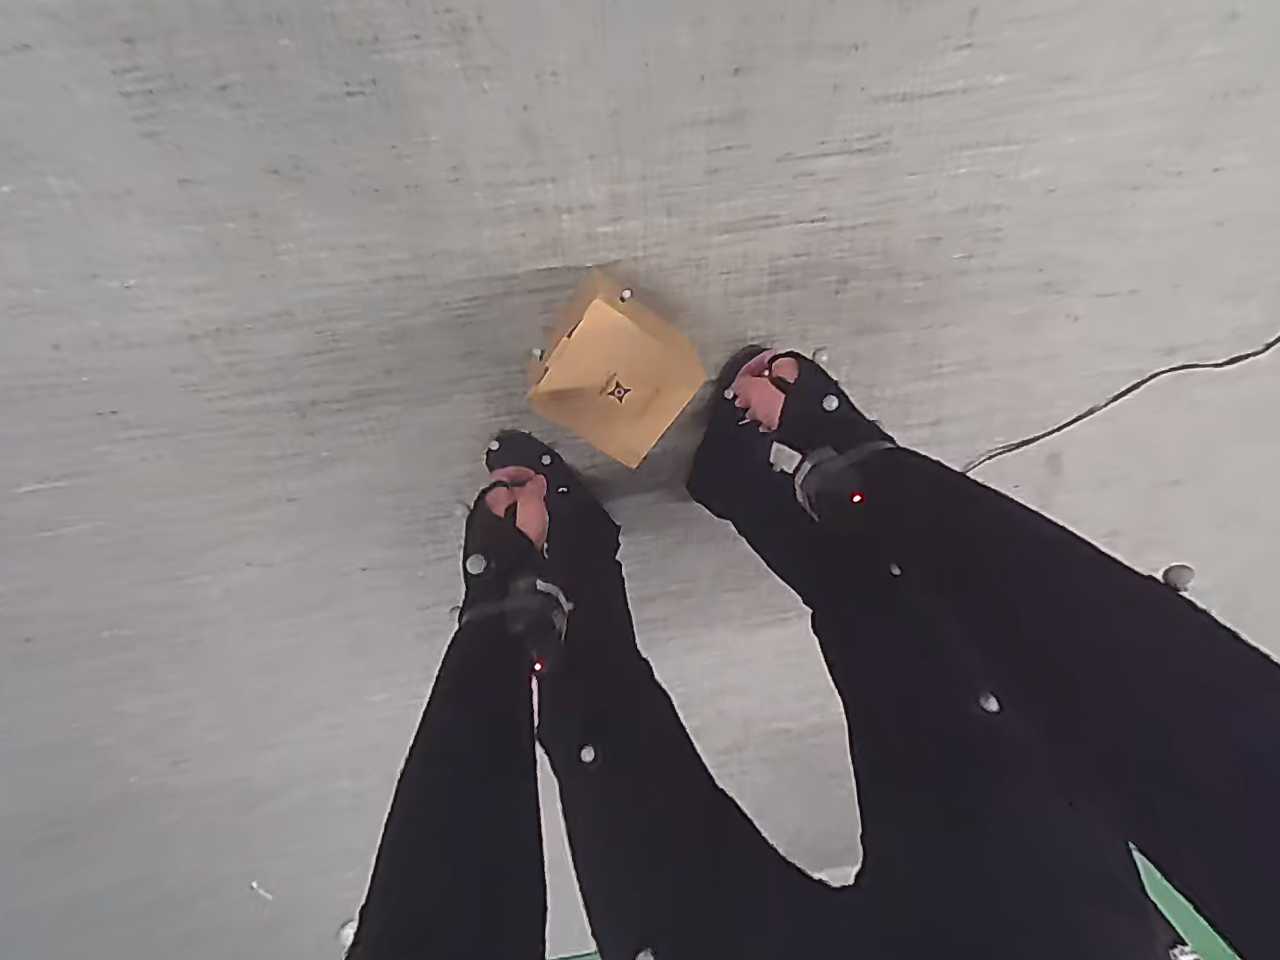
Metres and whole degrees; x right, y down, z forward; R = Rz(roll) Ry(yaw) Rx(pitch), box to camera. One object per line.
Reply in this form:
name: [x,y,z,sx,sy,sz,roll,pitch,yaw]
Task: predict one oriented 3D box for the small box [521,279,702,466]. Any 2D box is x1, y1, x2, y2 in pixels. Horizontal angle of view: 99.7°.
small box: [-0.045,-0.156,0.751,0.179,0.176,0.168,29,115,-25]
